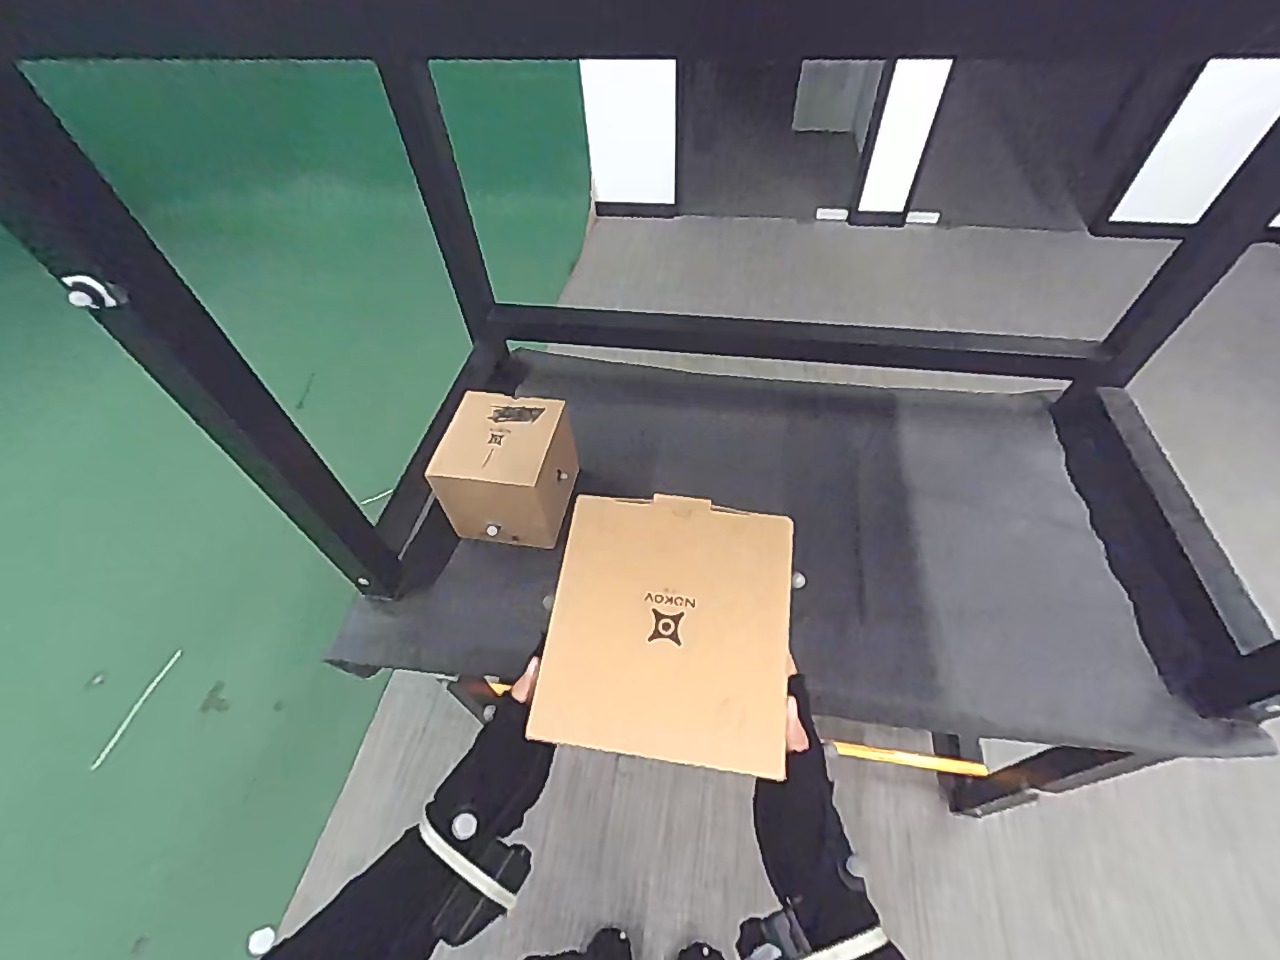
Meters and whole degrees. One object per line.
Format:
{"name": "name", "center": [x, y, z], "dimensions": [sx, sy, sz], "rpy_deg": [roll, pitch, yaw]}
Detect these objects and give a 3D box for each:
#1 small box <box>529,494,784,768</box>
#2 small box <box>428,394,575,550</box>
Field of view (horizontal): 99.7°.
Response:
{"name": "small box", "center": [0.024, 0.131, 0.456], "dimensions": [0.168, 0.176, 0.179], "rpy_deg": [6, 63, 7]}
{"name": "small box", "center": [-0.208, -0.013, 0.874], "dimensions": [0.168, 0.176, 0.179], "rpy_deg": [6, 52, 7]}
